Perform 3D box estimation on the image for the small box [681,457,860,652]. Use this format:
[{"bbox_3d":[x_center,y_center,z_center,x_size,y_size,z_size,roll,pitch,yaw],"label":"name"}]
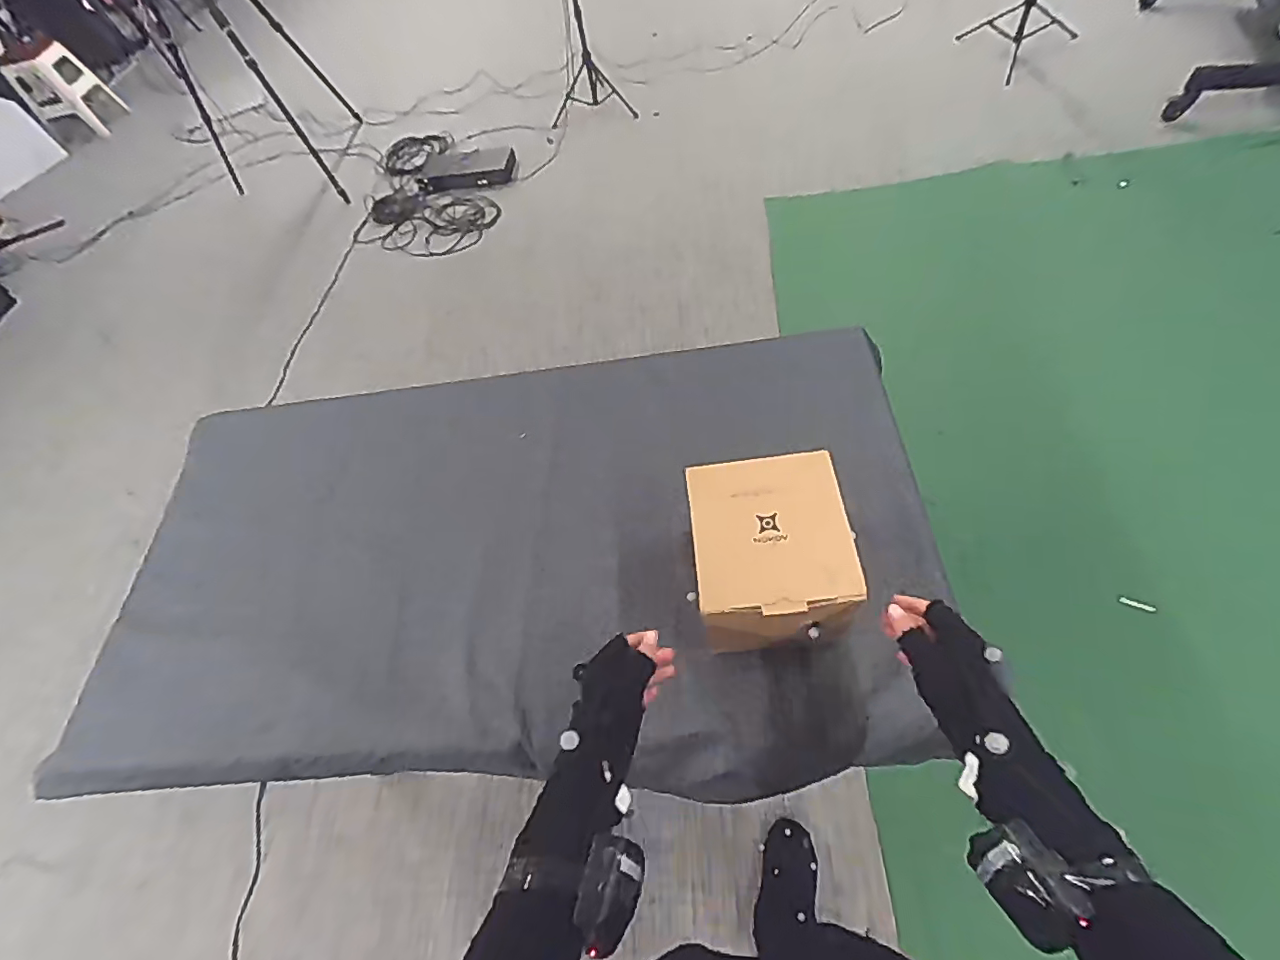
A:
[{"bbox_3d":[0.144,0.099,0.647,0.168,0.176,0.179,-8,57,5],"label":"small box"}]
